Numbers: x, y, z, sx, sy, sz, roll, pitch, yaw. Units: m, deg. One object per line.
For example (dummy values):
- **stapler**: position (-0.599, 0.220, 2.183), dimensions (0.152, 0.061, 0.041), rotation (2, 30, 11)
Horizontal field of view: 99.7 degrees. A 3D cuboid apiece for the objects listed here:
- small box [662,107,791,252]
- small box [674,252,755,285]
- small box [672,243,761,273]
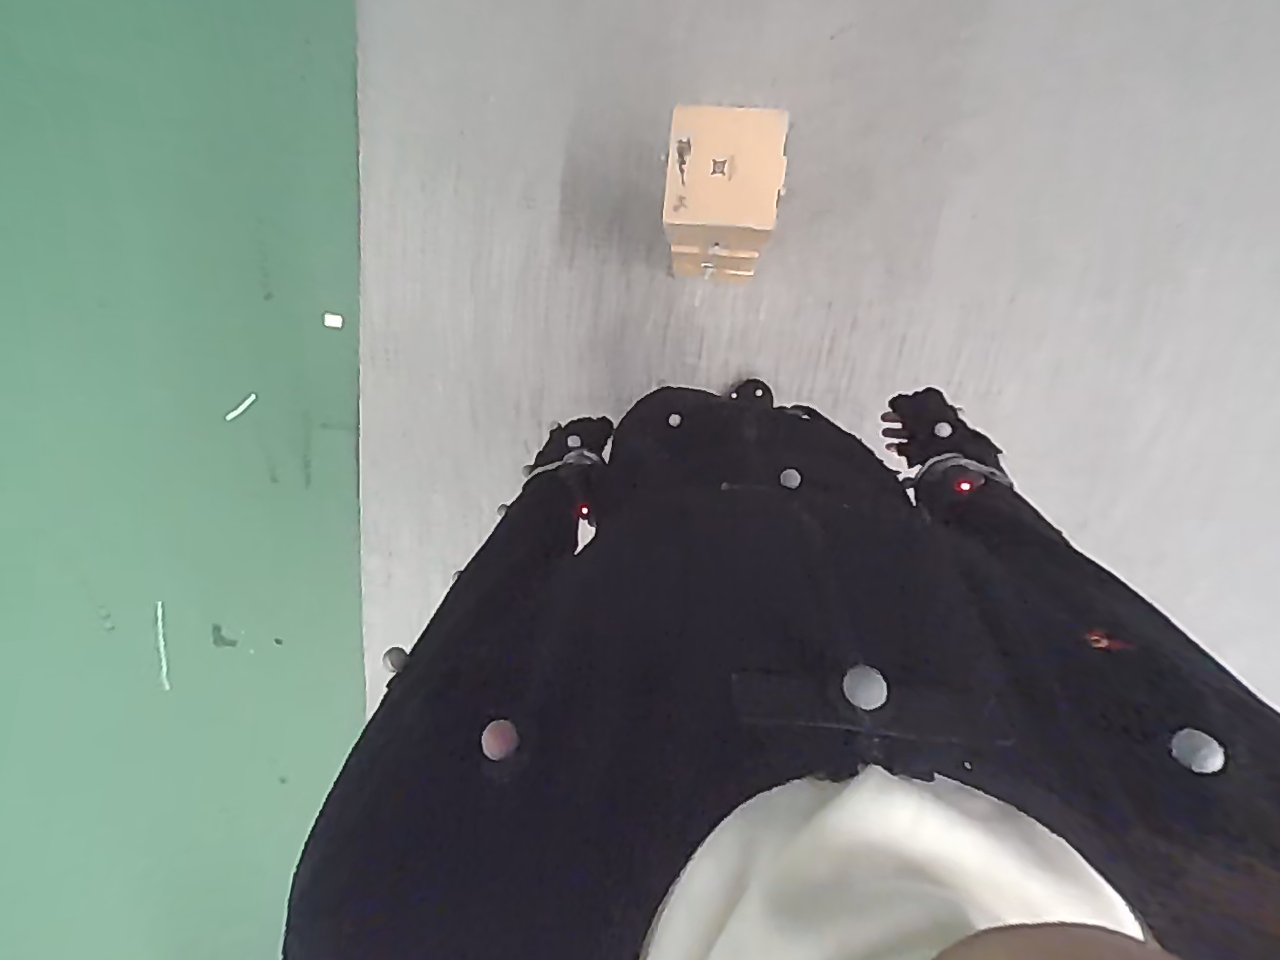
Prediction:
- **small box**: position (0.138, -0.486, 0.898), dimensions (0.179, 0.176, 0.168), rotation (8, 103, 6)
- **small box**: position (0.177, -0.542, 1.217), dimensions (0.179, 0.176, 0.168), rotation (9, 103, 4)
- **small box**: position (0.159, -0.516, 1.058), dimensions (0.168, 0.176, 0.179), rotation (8, 104, 7)
